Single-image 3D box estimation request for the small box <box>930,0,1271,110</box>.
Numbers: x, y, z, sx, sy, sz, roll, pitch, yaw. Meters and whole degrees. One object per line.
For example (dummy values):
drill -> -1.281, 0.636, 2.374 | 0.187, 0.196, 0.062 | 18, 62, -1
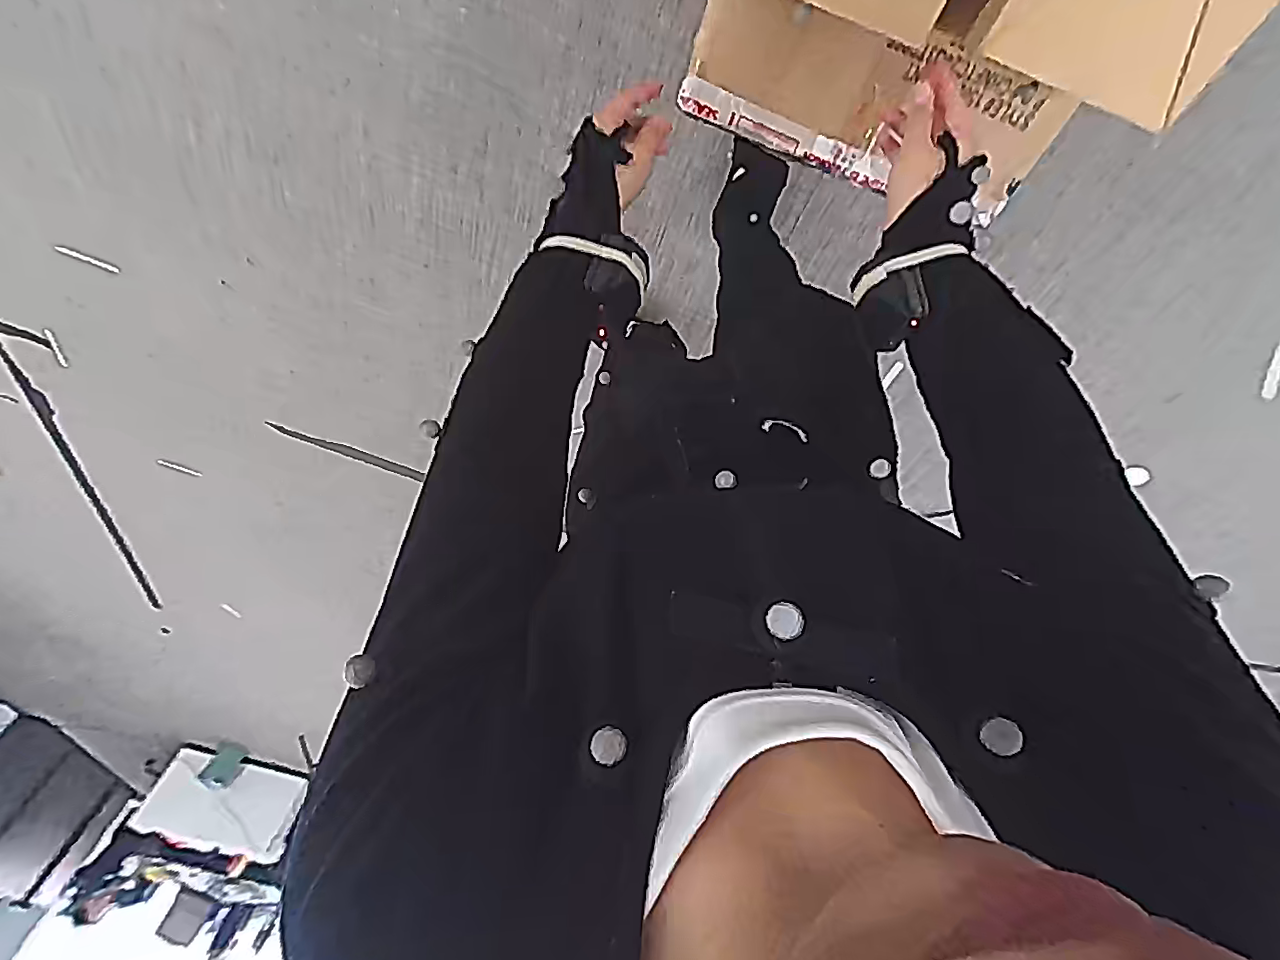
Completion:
small box -> 0.362, -0.407, 0.404 | 0.168, 0.176, 0.179 | 16, 136, -8
